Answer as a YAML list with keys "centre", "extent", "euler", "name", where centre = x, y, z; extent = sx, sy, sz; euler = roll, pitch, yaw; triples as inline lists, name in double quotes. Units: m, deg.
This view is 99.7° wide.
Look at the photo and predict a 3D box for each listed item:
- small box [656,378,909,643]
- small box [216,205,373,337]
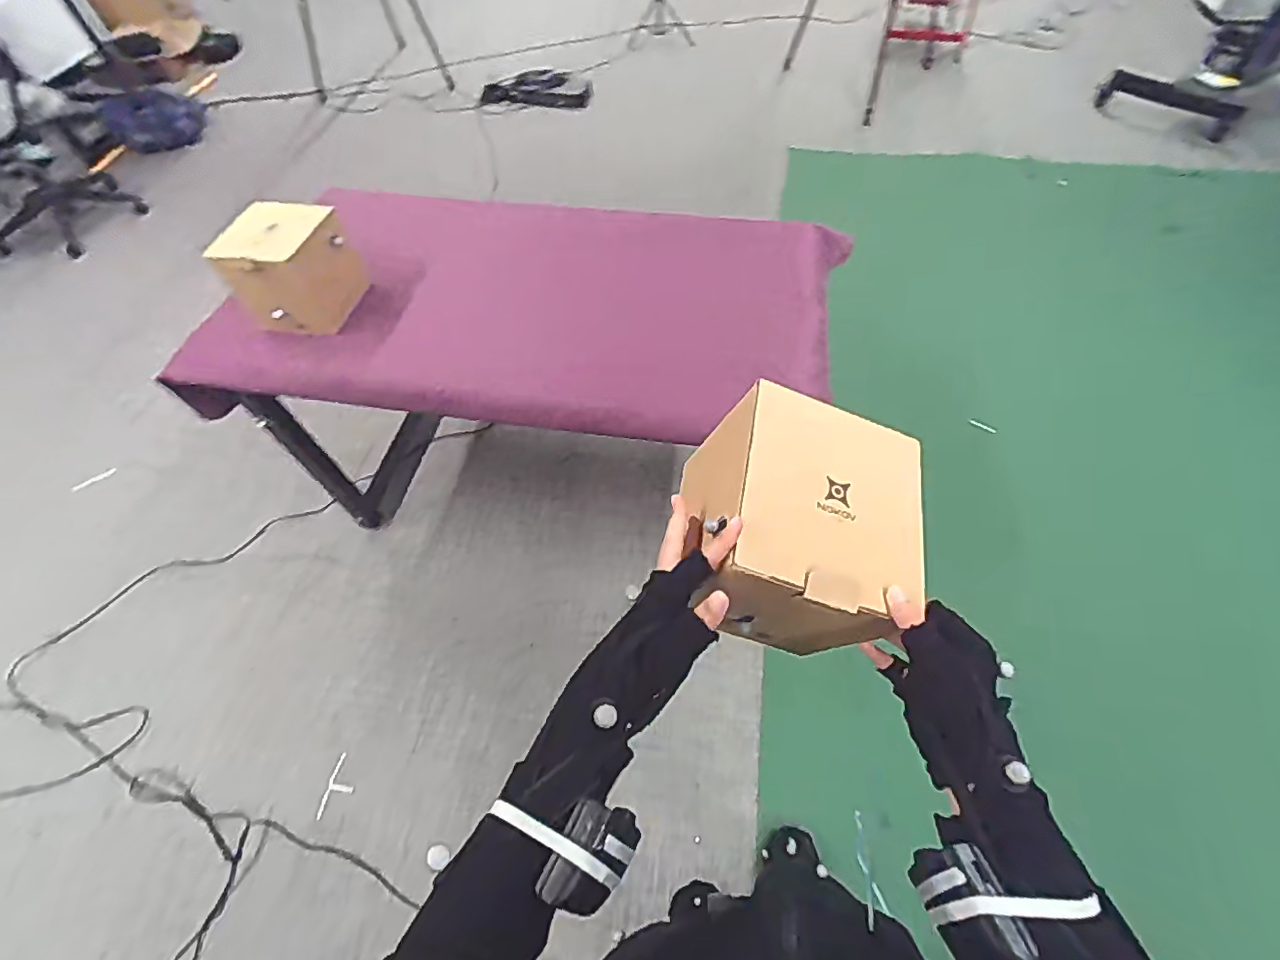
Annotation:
- centre: [0.126, 0.041, 0.515]
  extent: [0.168, 0.176, 0.179]
  euler: [19, 62, -10]
  name: "small box"
- centre: [-0.660, -0.409, 1.063]
  extent: [0.168, 0.176, 0.179]
  euler: [7, 57, 8]
  name: "small box"
